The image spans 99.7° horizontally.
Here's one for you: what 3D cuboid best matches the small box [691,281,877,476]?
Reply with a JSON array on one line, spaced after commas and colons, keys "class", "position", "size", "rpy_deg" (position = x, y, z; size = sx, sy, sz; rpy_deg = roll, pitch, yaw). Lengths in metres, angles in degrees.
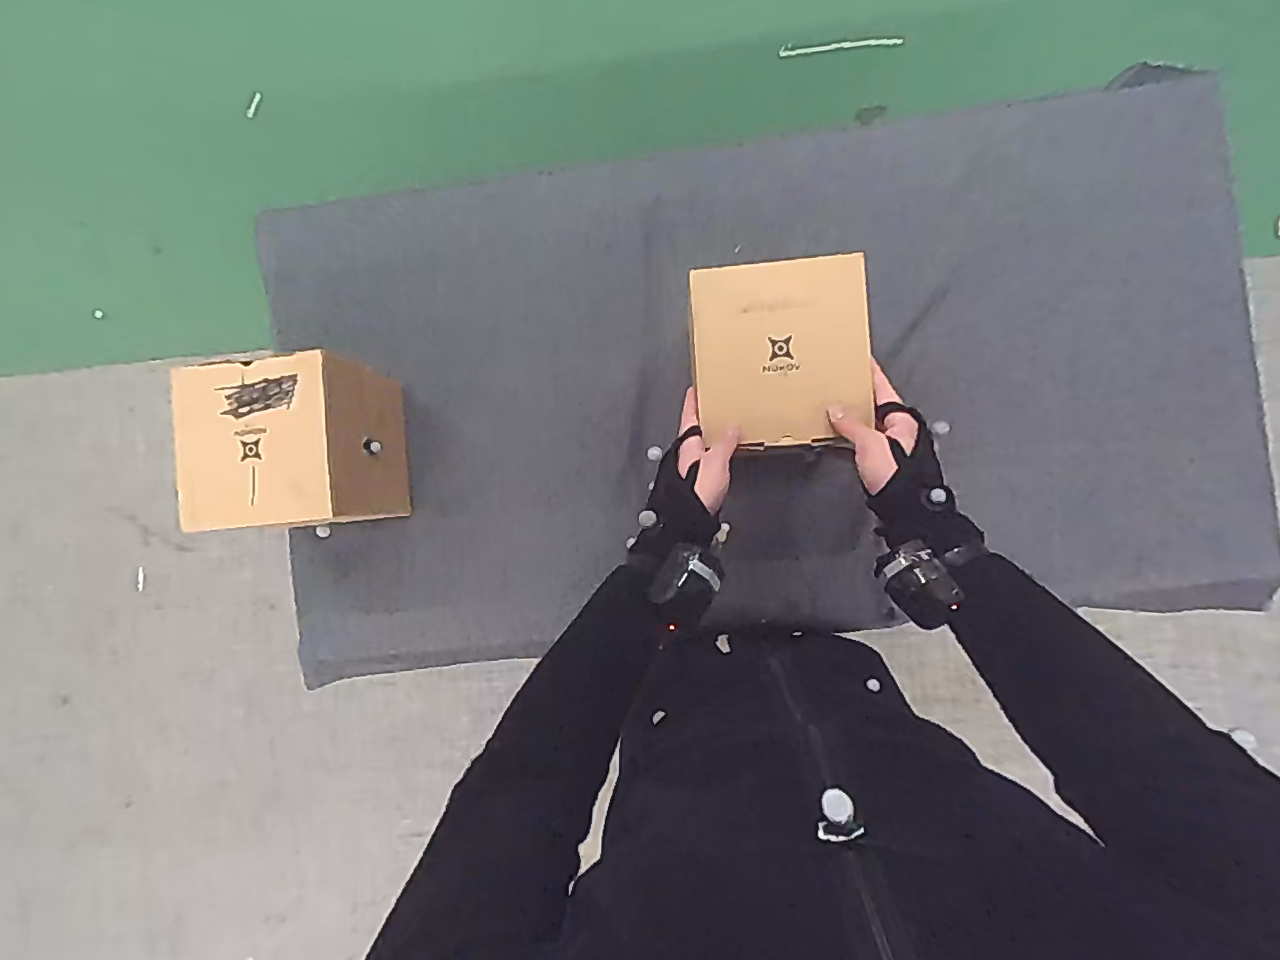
[{"class": "small box", "position": [0.145, -0.096, 0.600], "size": [0.168, 0.176, 0.179], "rpy_deg": [-5, 87, 4]}]
